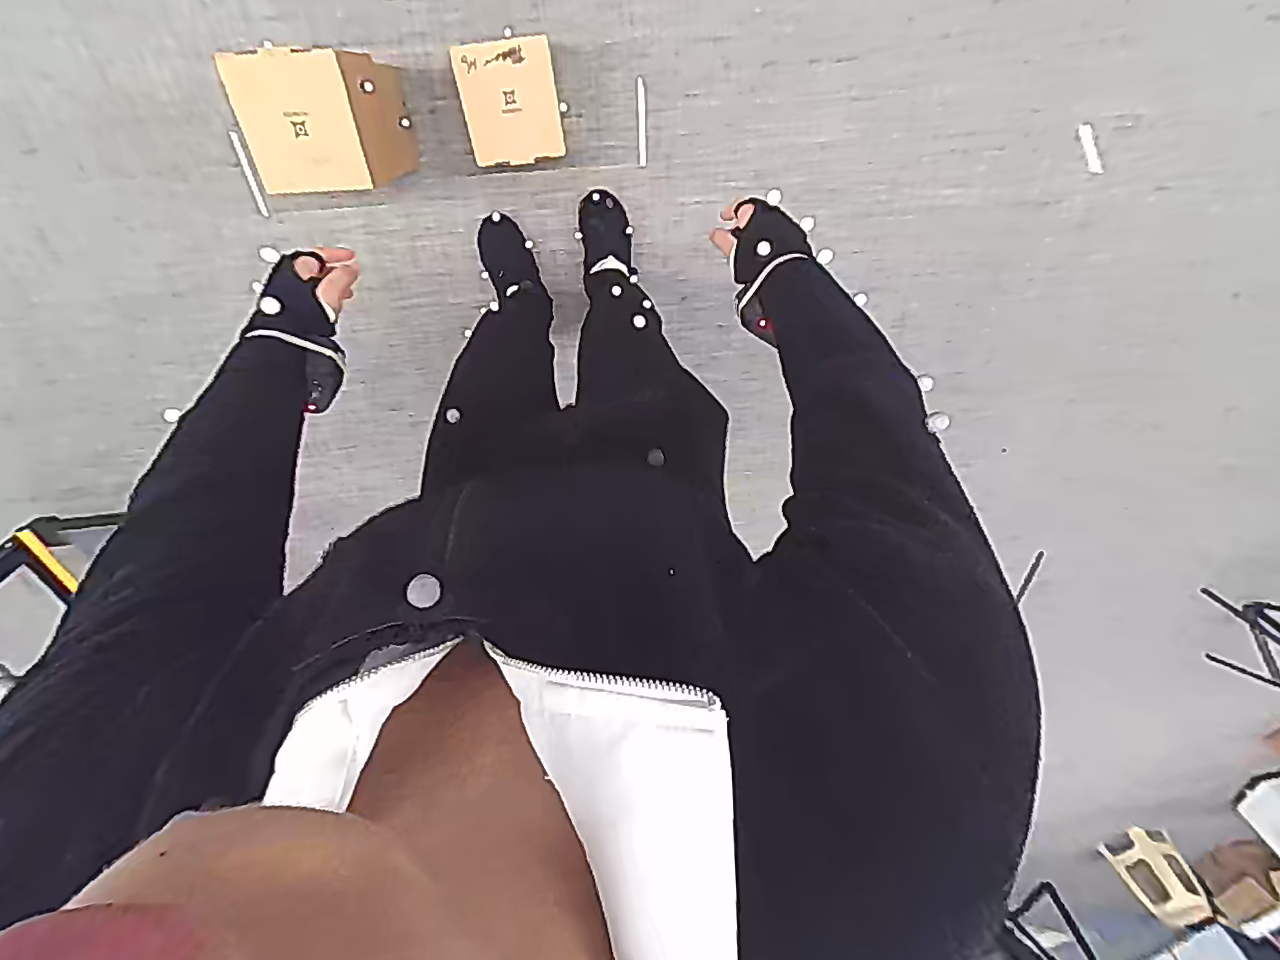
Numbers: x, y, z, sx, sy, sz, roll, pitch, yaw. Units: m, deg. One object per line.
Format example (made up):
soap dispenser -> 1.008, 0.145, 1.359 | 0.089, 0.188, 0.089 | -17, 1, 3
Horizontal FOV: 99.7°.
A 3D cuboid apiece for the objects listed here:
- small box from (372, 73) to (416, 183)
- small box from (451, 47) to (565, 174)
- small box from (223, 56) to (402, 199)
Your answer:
small box -> -0.531, -0.654, 1.004 | 0.179, 0.176, 0.168 | -4, 125, -4
small box -> -0.236, -0.694, 1.016 | 0.168, 0.176, 0.179 | -8, 126, -1
small box -> -0.507, -0.565, 0.870 | 0.168, 0.176, 0.179 | -5, 127, -2
